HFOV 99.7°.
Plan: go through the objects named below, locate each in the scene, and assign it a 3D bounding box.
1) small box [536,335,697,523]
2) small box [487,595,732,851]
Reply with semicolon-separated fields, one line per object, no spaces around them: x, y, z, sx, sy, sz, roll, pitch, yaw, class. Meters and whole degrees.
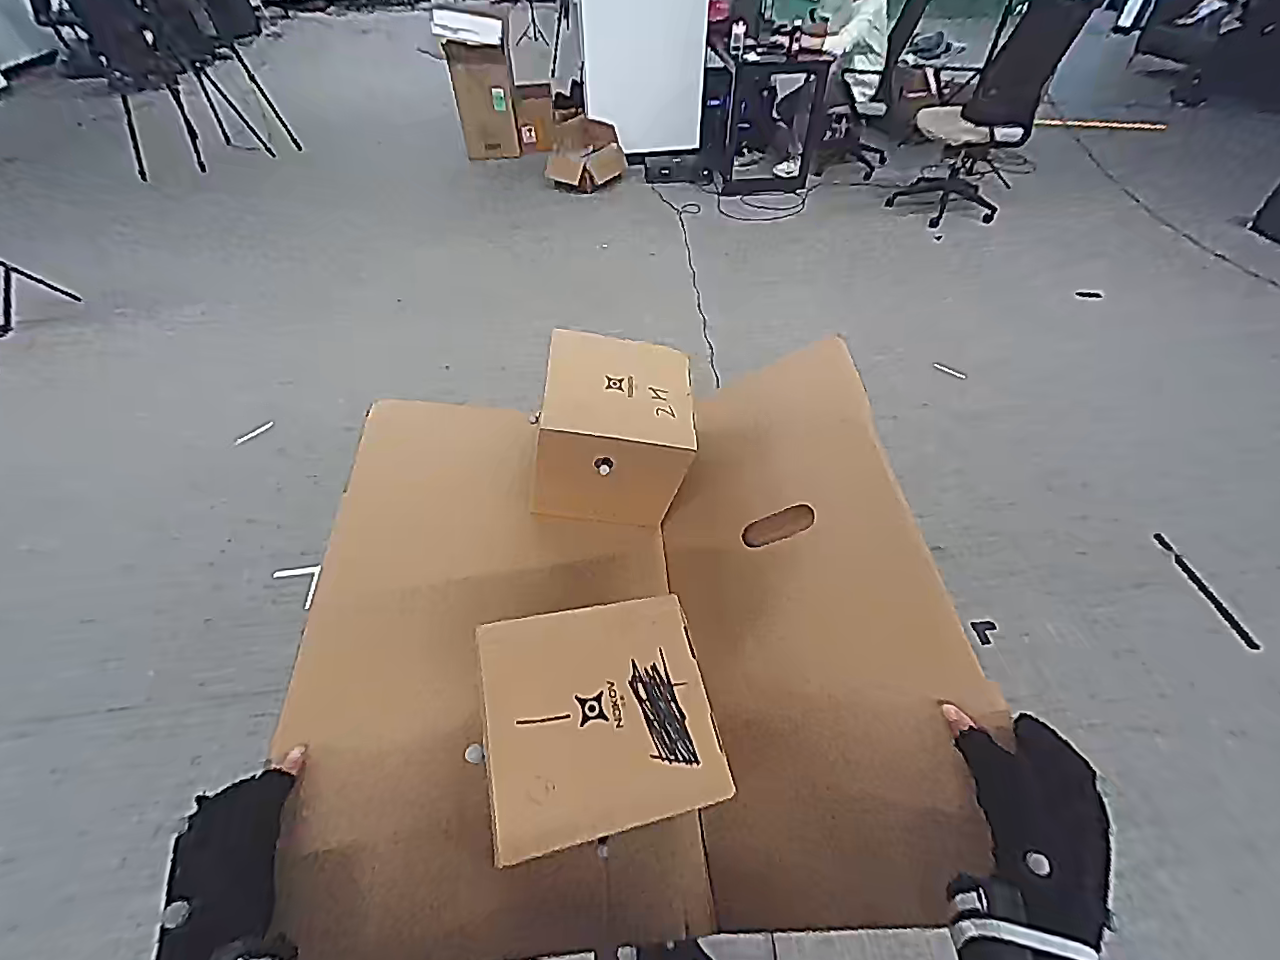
-0.036;-0.059;0.706;0.179;0.176;0.168;9;53;-11;small box
-0.045;0.223;0.498;0.179;0.176;0.168;-4;56;-18;small box
